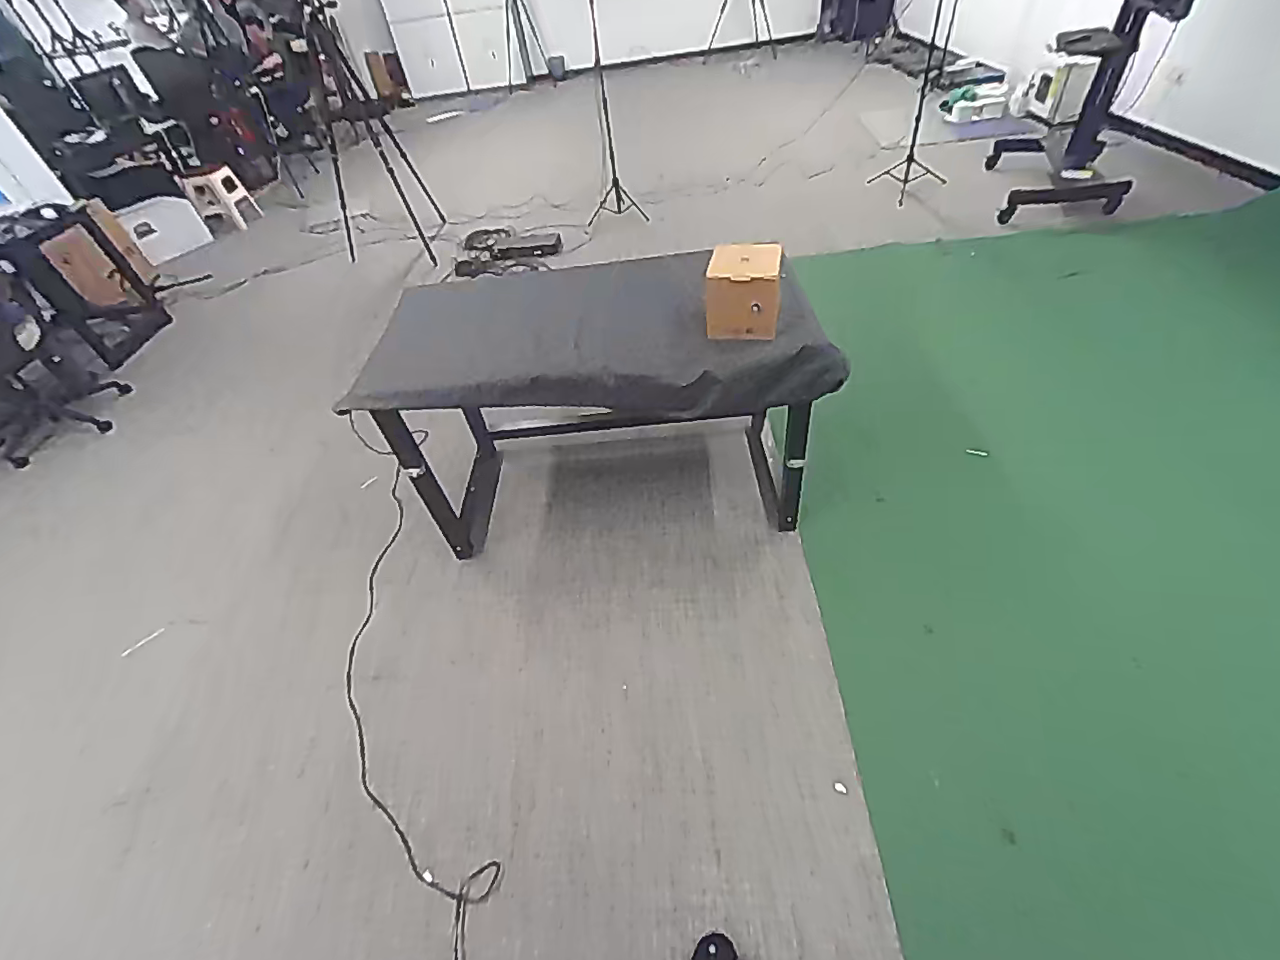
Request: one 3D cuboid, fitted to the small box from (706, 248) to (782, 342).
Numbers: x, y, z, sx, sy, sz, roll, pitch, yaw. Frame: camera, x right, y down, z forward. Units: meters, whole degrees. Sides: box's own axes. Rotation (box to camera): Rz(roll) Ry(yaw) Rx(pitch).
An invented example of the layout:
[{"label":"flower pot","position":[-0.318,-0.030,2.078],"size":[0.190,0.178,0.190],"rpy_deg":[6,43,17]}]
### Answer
[{"label":"small box","position":[0.261,-0.459,1.346],"size":[0.168,0.176,0.179],"rpy_deg":[5,45,14]}]
